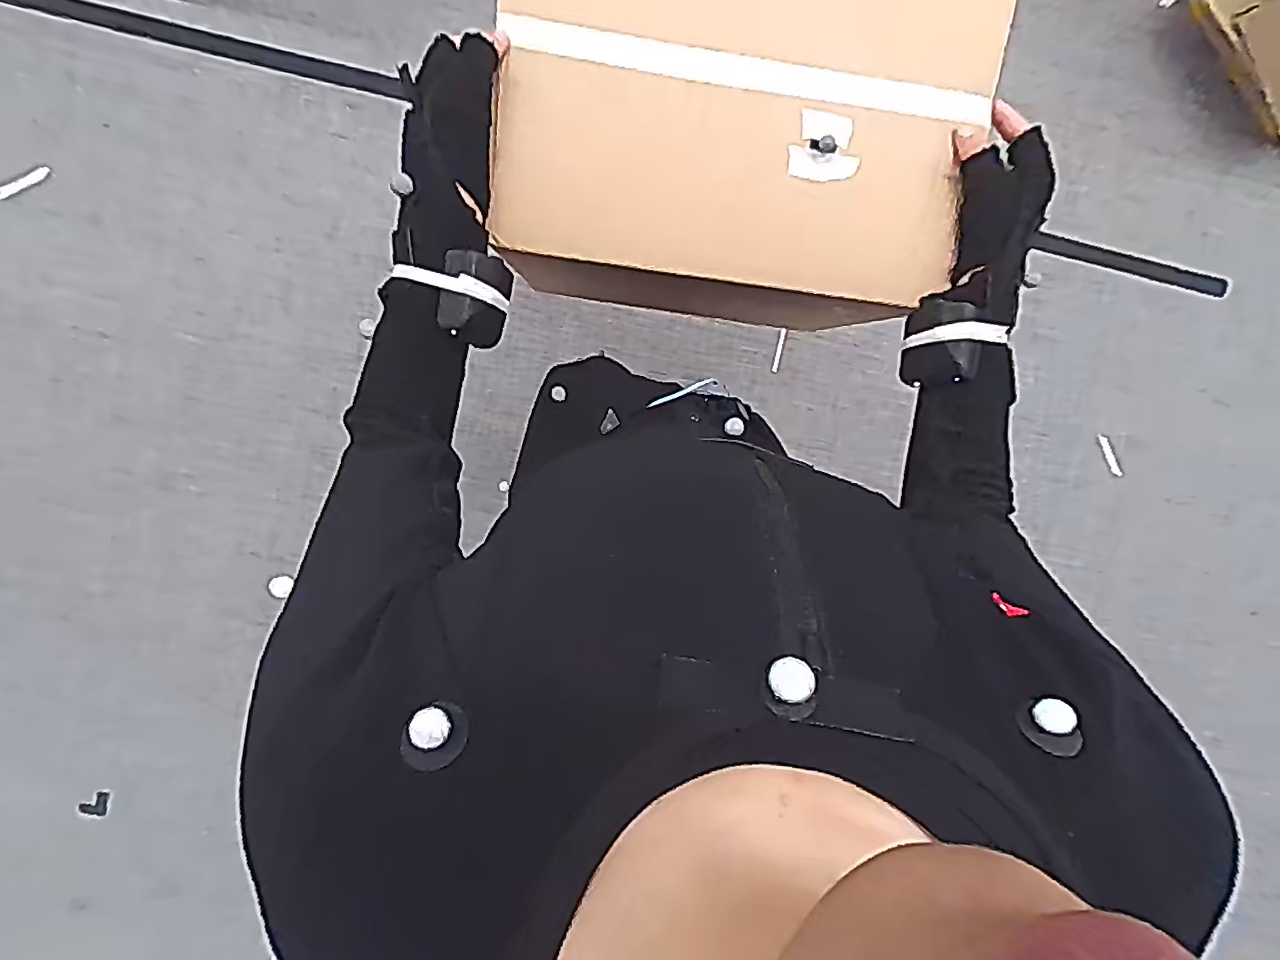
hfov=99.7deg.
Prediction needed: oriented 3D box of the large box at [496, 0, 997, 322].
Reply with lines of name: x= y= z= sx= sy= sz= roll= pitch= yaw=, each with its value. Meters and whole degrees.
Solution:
large box: x=0.077 y=-0.365 z=0.594 sx=0.408 sy=0.320 sz=0.320 roll=7 pitch=103 yaw=-5
